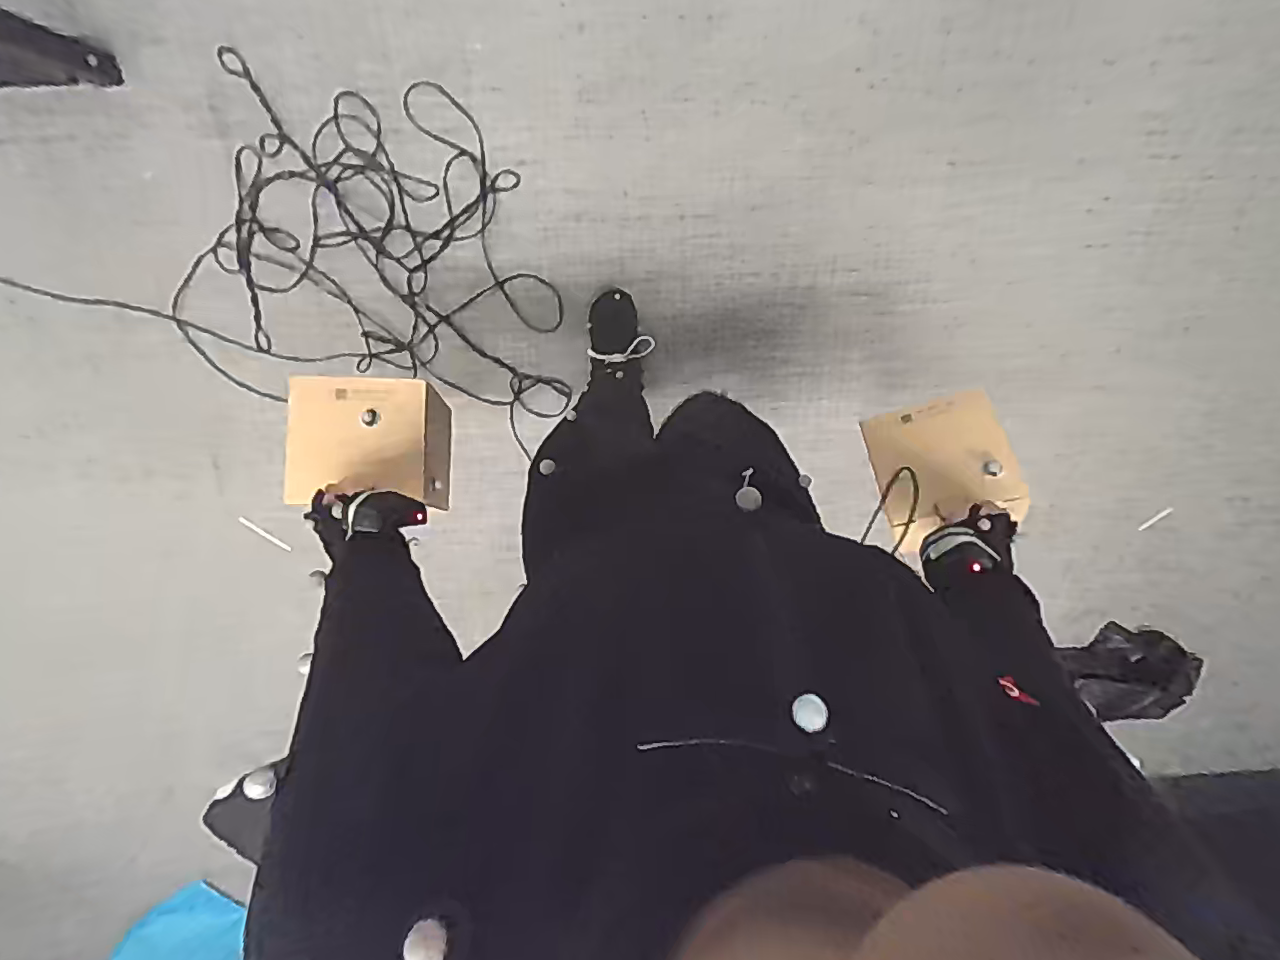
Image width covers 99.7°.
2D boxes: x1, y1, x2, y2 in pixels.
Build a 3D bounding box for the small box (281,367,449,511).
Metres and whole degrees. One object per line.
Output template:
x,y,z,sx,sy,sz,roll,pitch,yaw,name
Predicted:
-0.367,-0.047,0.753,0.168,0.179,0.176,1,83,-10,small box
